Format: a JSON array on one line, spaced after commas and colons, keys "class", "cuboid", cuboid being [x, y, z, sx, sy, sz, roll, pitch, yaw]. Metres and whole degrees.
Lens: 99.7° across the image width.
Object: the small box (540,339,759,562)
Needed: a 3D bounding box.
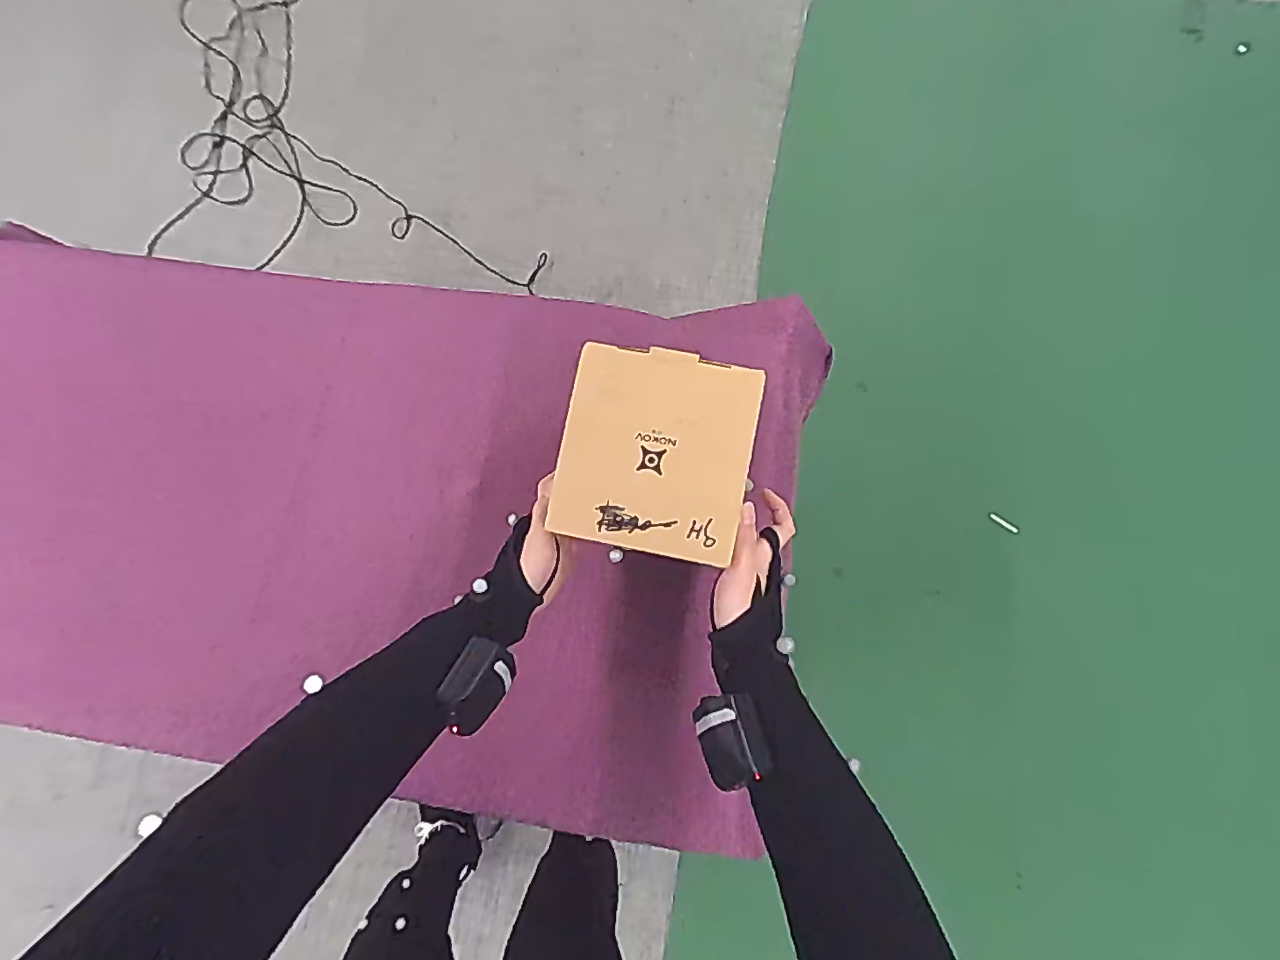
[{"class": "small box", "cuboid": [0.015, -0.019, 0.550, 0.168, 0.176, 0.179, 10, 84, 7]}]
